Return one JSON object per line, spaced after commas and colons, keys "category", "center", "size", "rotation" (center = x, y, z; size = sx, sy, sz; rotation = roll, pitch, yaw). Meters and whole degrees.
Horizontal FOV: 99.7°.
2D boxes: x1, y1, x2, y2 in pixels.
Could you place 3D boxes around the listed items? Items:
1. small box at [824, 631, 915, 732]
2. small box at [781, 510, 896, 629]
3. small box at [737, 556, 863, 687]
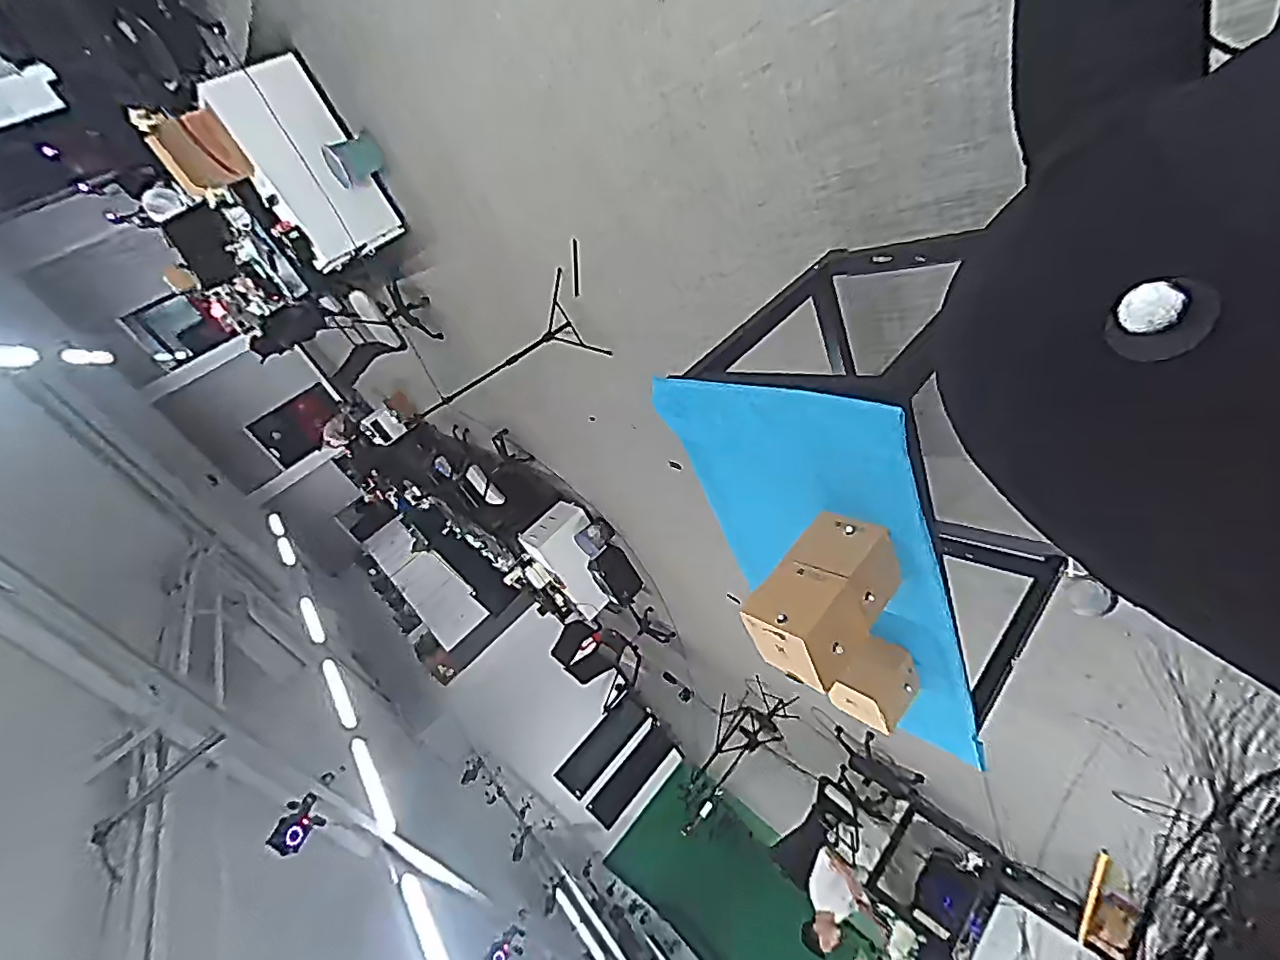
{"category": "small box", "center": [0.619, 0.535, 1.474], "size": [0.179, 0.176, 0.168], "rotation": [16, 143, 48]}
{"category": "small box", "center": [0.455, 0.198, 1.224], "size": [0.168, 0.176, 0.179], "rotation": [16, 141, 51]}
{"category": "small box", "center": [0.345, 0.294, 1.151], "size": [0.168, 0.176, 0.179], "rotation": [12, 138, 54]}
